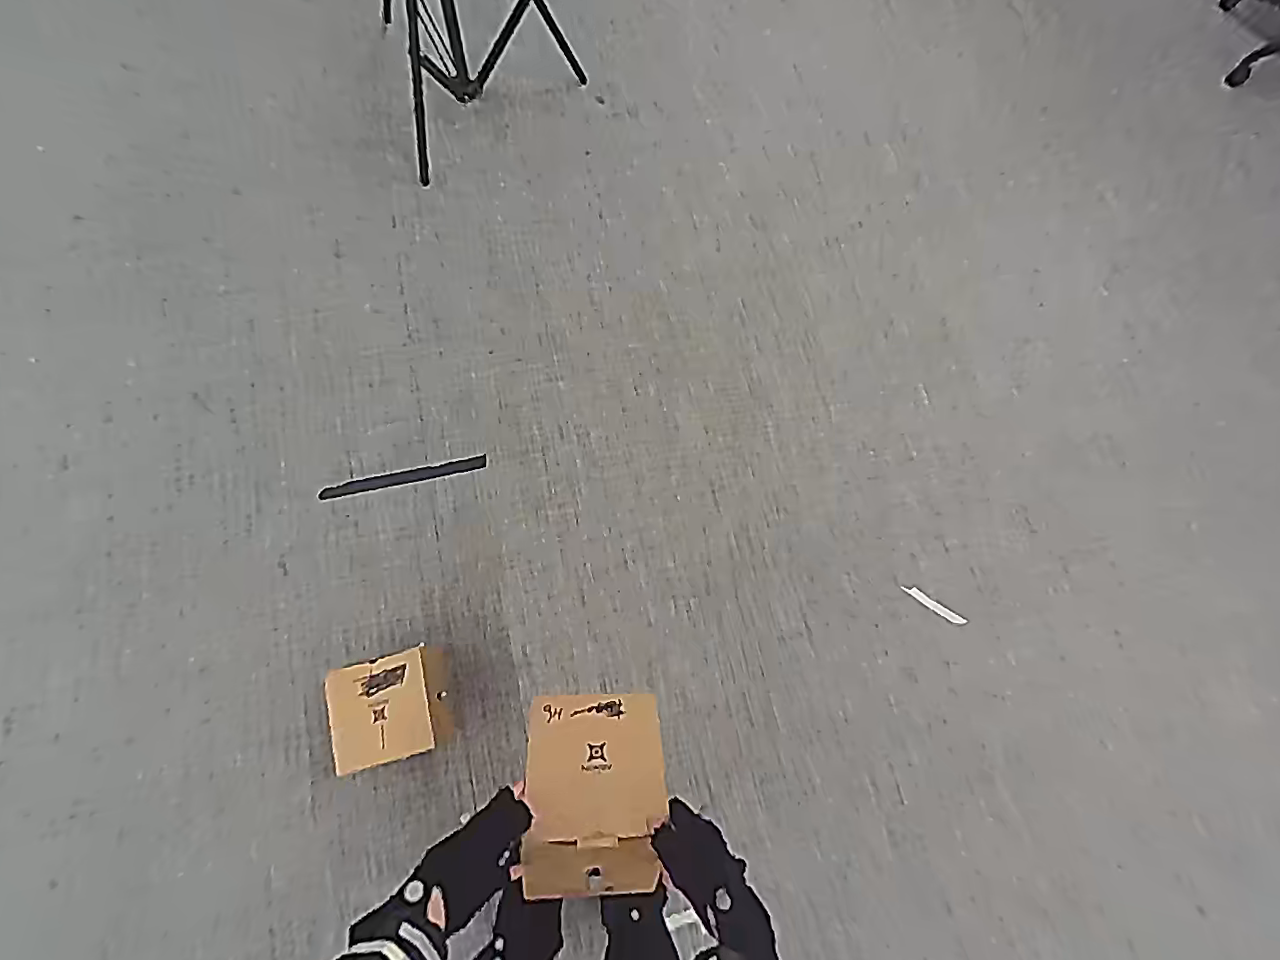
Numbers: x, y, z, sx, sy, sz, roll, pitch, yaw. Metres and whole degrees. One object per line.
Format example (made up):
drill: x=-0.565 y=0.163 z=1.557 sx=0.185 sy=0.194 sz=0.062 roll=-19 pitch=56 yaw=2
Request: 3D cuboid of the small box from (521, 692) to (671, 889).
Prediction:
small box: x=-0.058 y=0.399 z=0.694 sx=0.168 sy=0.176 sz=0.179 roll=2 pitch=36 yaw=-7

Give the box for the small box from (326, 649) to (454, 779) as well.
small box: x=-0.457 y=0.423 z=1.007 sx=0.168 sy=0.176 sz=0.179 roll=-13 pitch=76 yaw=-10
